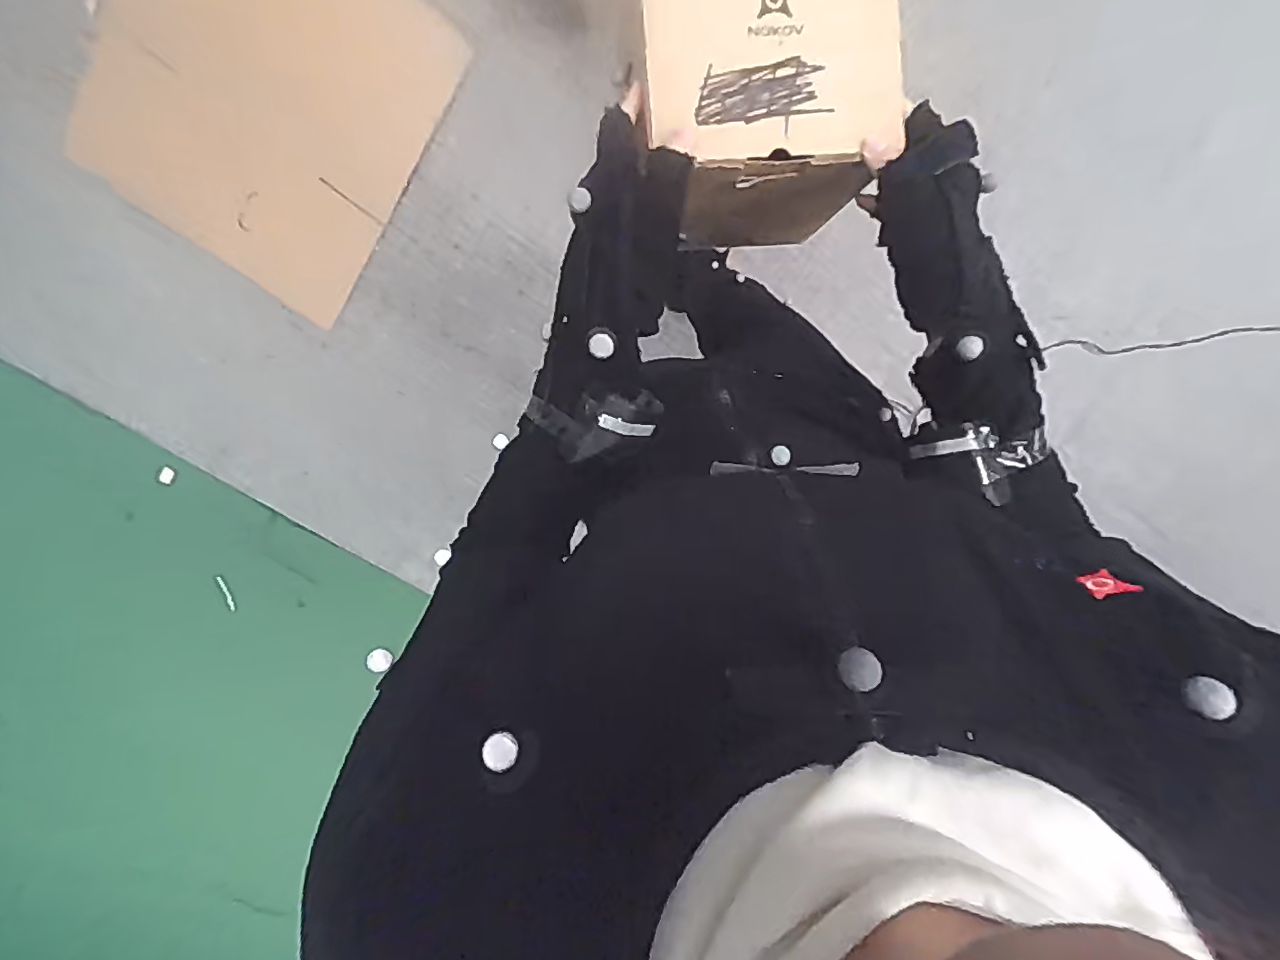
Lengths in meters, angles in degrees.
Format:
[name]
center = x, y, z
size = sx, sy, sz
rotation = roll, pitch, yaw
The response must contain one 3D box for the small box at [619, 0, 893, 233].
[small box]
center = 0.072, -0.305, 0.415
size = 0.168, 0.176, 0.179
rotation = -5, 95, -3
